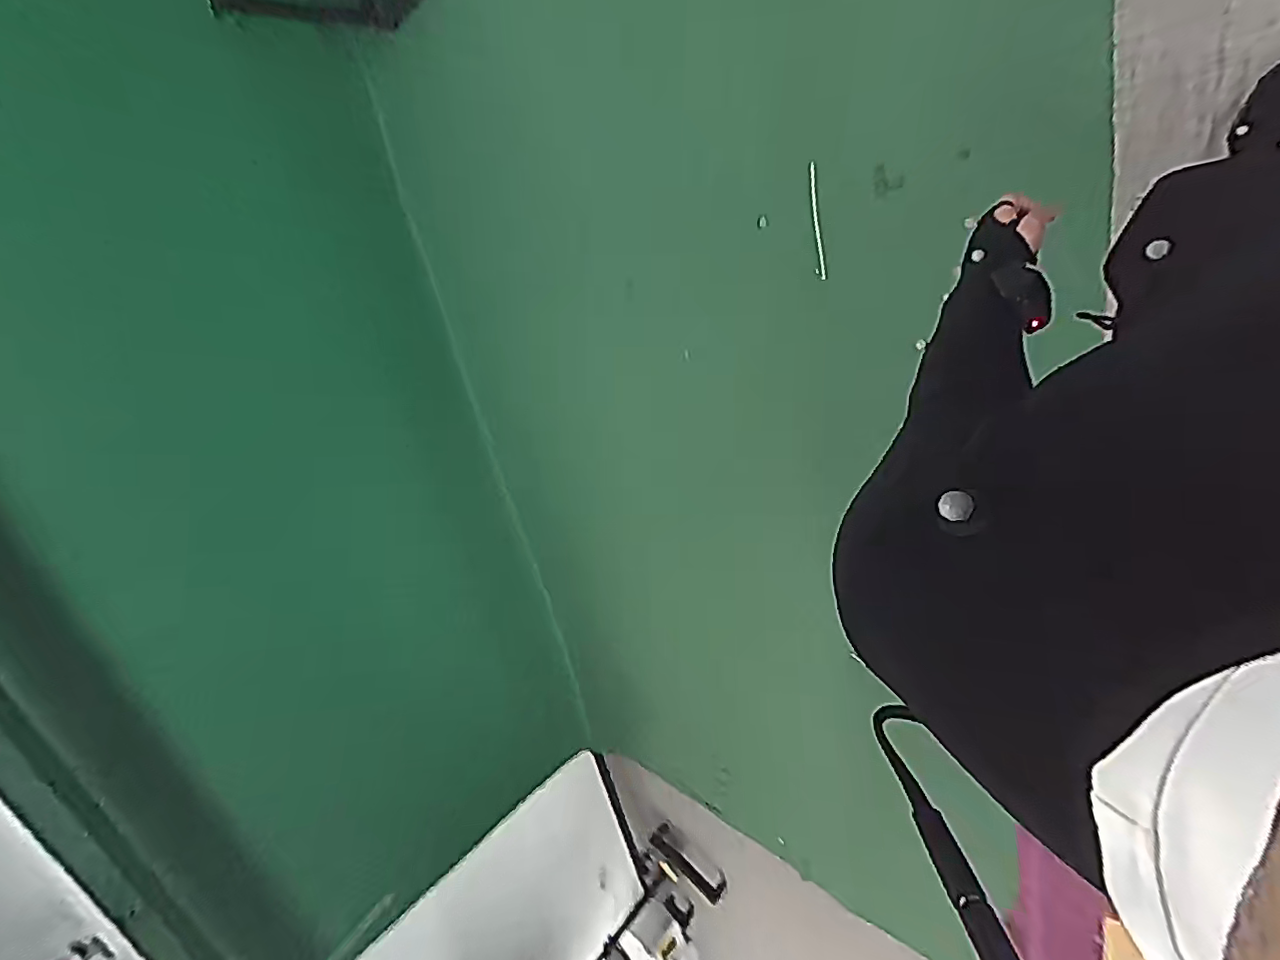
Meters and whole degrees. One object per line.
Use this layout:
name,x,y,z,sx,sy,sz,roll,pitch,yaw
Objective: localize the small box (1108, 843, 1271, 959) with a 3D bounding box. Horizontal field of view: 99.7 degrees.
small box,0.841,0.722,0.834,0.168,0.176,0.179,3,115,46
